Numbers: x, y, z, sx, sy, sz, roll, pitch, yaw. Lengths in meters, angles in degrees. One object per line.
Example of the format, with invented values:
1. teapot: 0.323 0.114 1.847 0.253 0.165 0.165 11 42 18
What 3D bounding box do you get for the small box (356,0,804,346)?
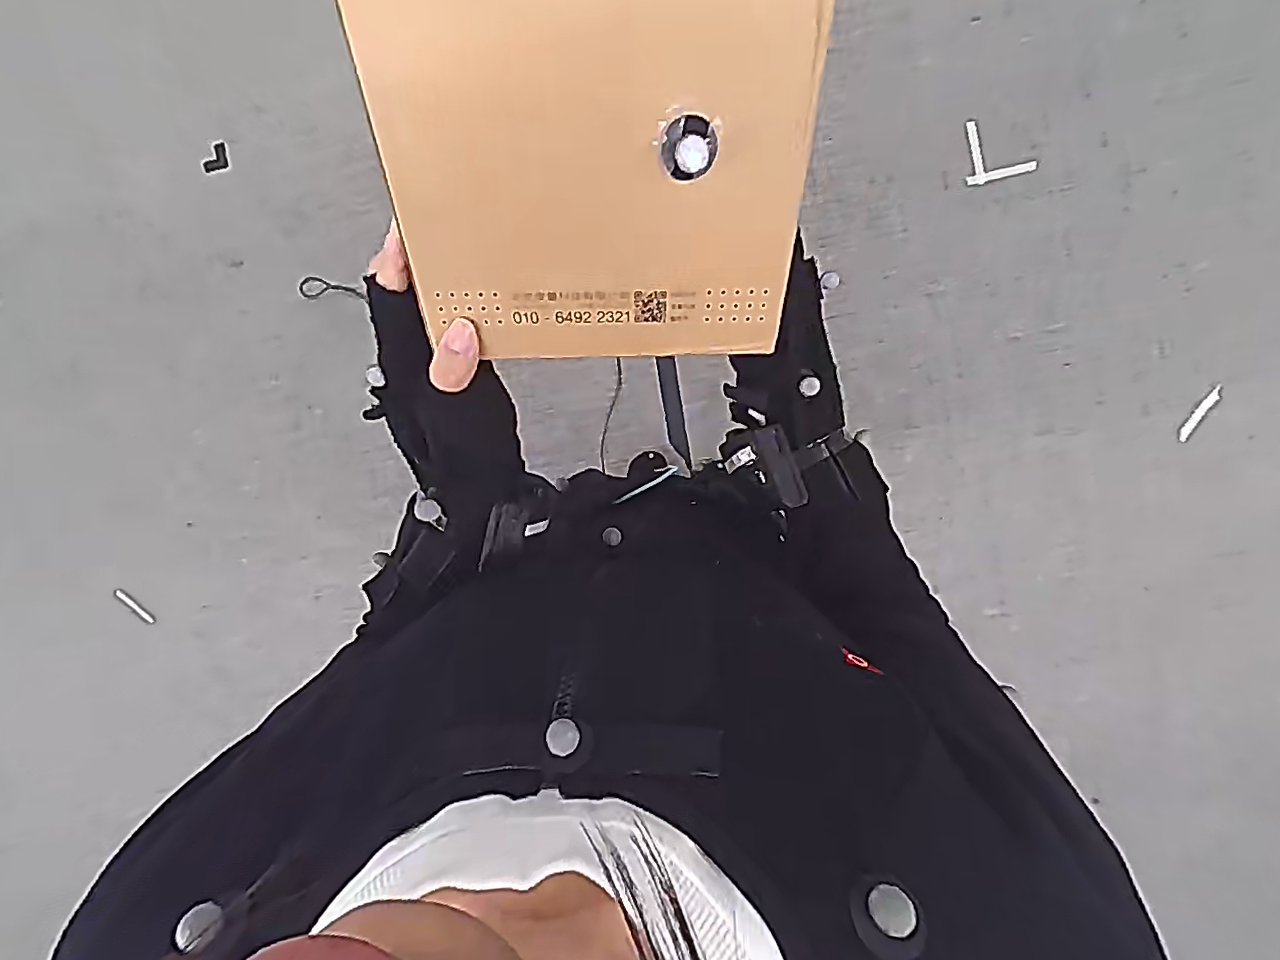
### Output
1. small box: -0.018 -0.183 0.291 0.168 0.179 0.176 -1 131 -1
